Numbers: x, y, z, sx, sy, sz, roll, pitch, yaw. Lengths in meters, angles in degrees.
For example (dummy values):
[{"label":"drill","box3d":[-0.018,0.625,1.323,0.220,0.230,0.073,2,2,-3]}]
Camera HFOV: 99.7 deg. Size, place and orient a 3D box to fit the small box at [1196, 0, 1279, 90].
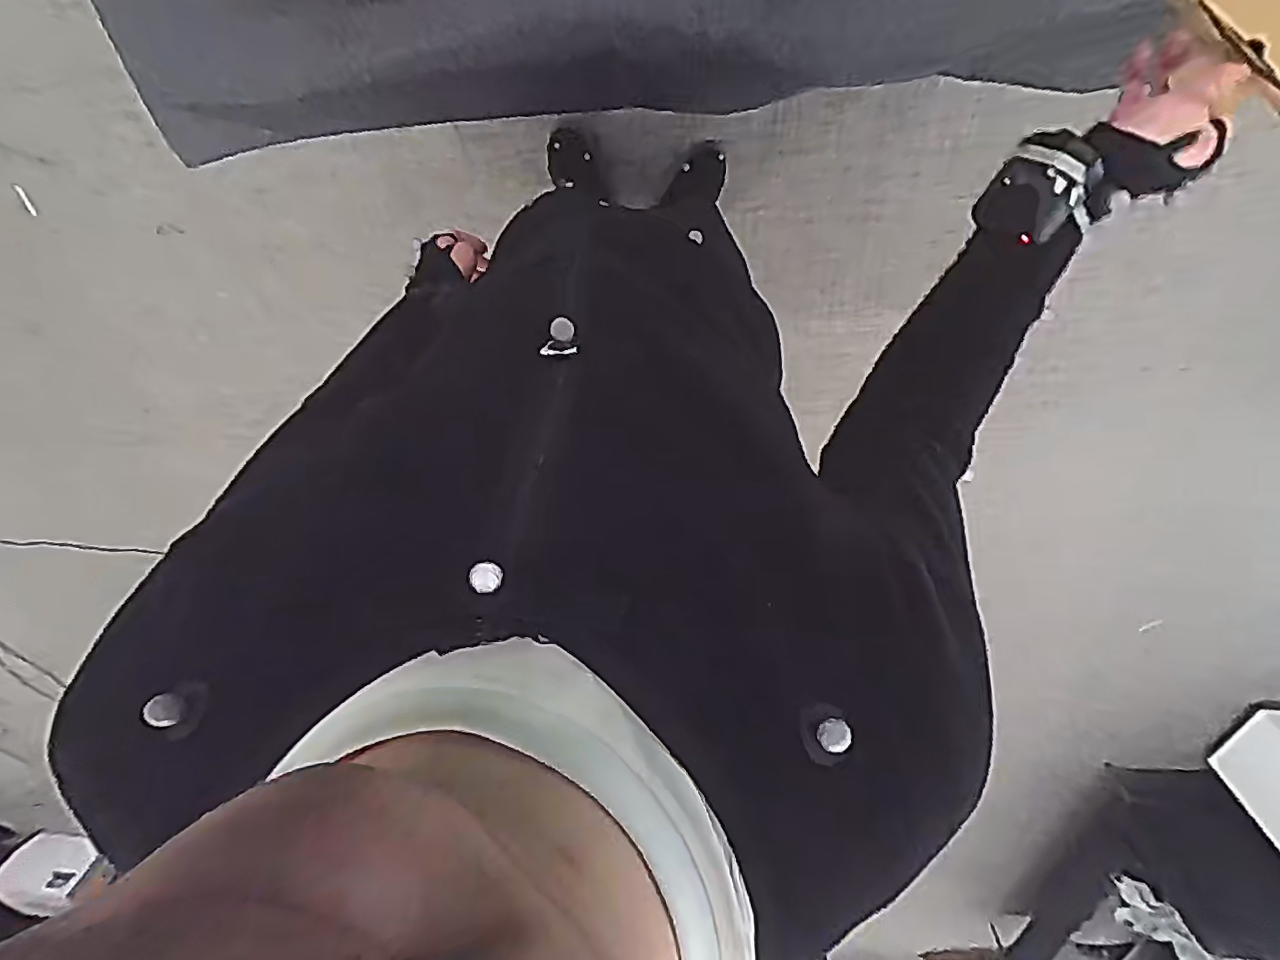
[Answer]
[{"label":"small box","box3d":[0.487,-0.377,0.343,0.168,0.176,0.179,46,142,0]}]
